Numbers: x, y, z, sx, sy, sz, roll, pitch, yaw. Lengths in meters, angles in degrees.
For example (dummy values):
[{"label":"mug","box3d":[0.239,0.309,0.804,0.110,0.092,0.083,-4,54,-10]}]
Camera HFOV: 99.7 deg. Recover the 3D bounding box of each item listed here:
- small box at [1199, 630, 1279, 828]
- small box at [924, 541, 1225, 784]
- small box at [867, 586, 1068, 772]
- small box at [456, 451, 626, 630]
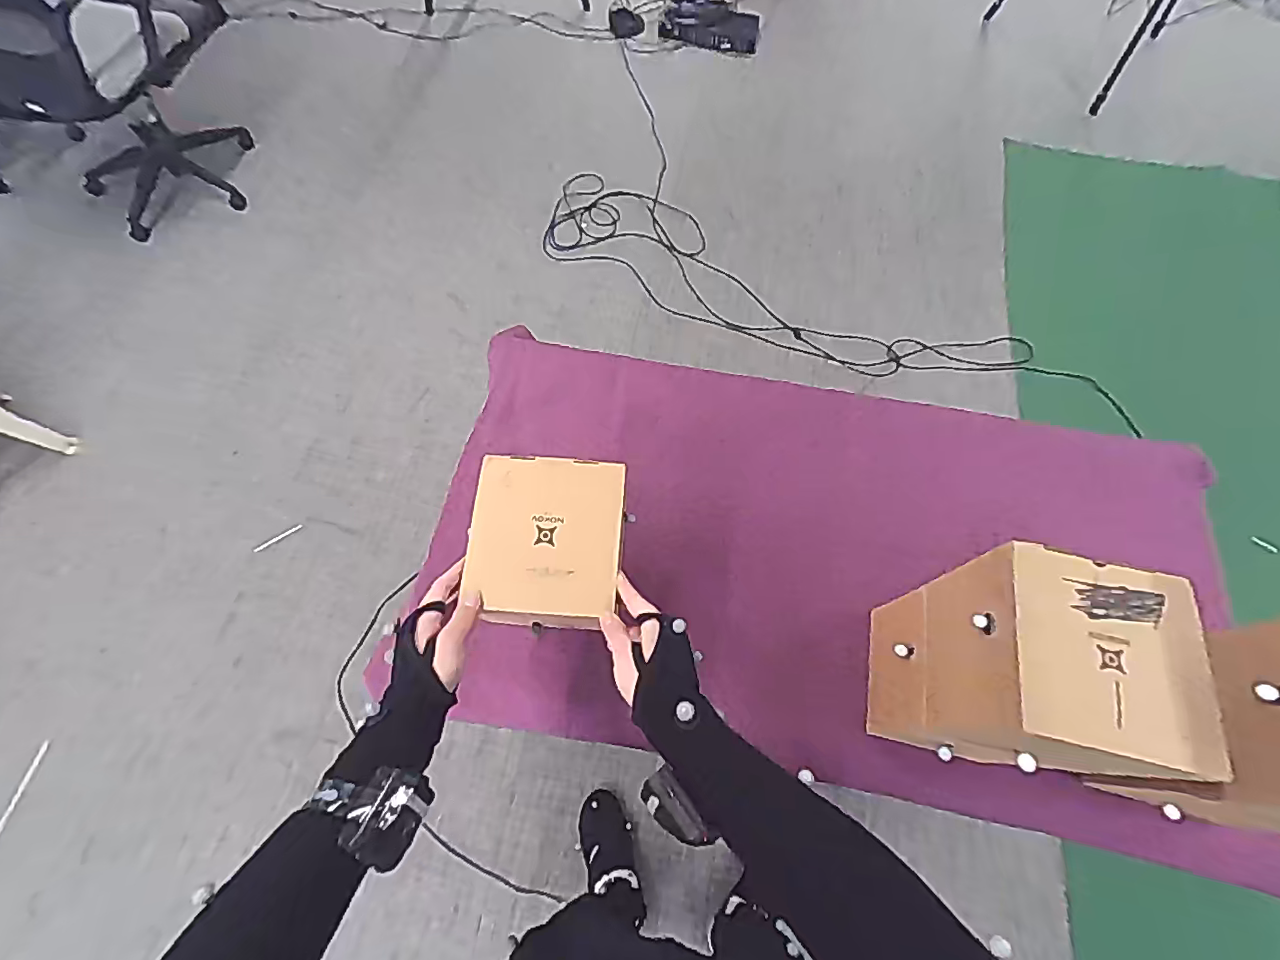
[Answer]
[{"label":"small box","box3d":[0.685,0.248,0.521,0.168,0.176,0.179,14,65,7]},{"label":"small box","box3d":[0.411,0.186,0.550,0.168,0.176,0.179,13,65,6]},{"label":"small box","box3d":[0.407,0.258,0.698,0.168,0.176,0.179,12,64,5]},{"label":"small box","box3d":[-0.107,0.082,0.665,0.168,0.176,0.179,4,70,0]}]
